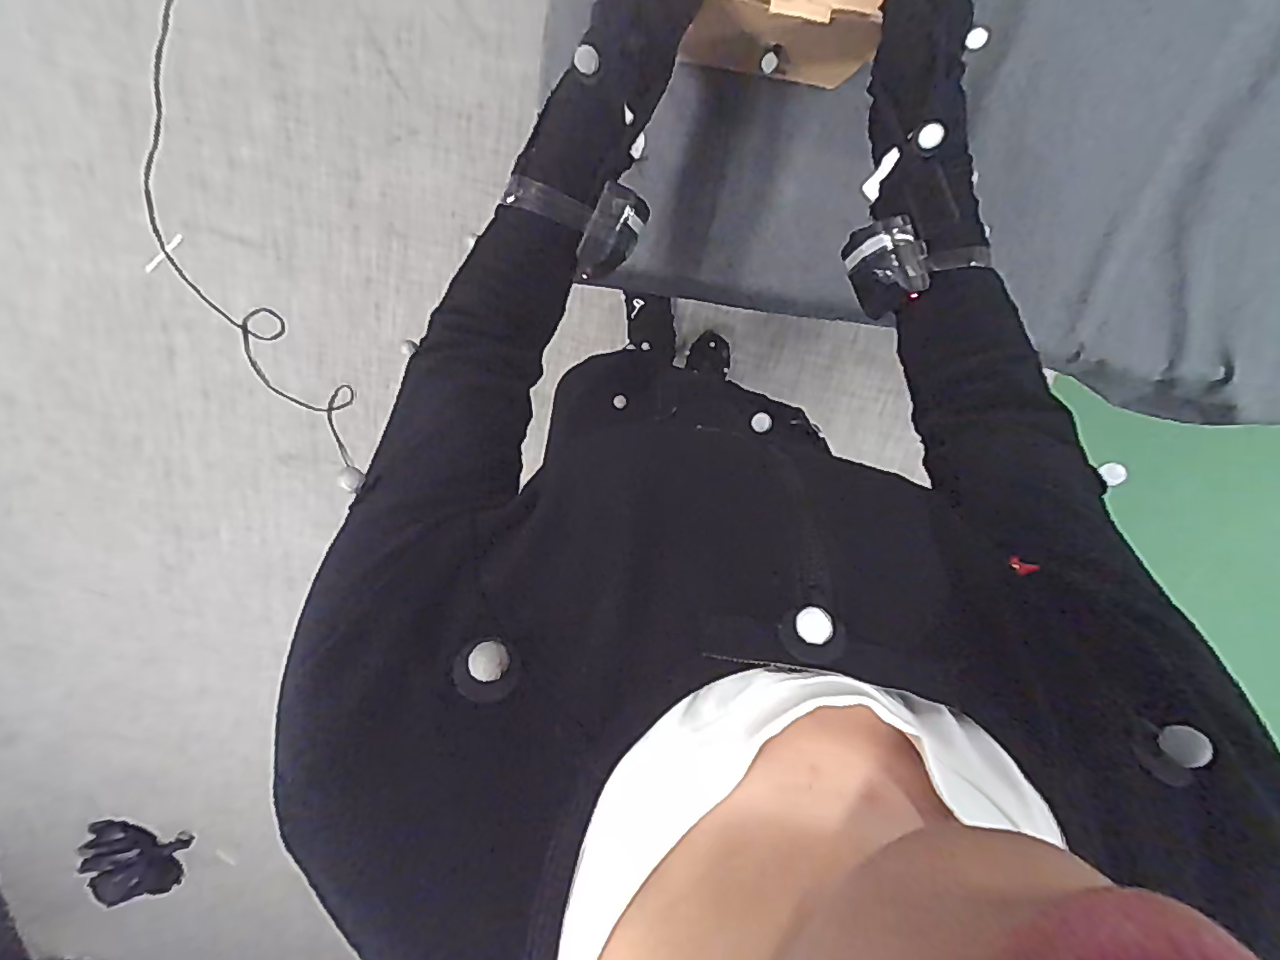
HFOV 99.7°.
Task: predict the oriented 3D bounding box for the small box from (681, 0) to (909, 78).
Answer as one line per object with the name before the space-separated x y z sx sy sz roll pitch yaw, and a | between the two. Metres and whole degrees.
small box | 0.127 -0.451 0.430 0.168 0.176 0.179 8 114 -2
